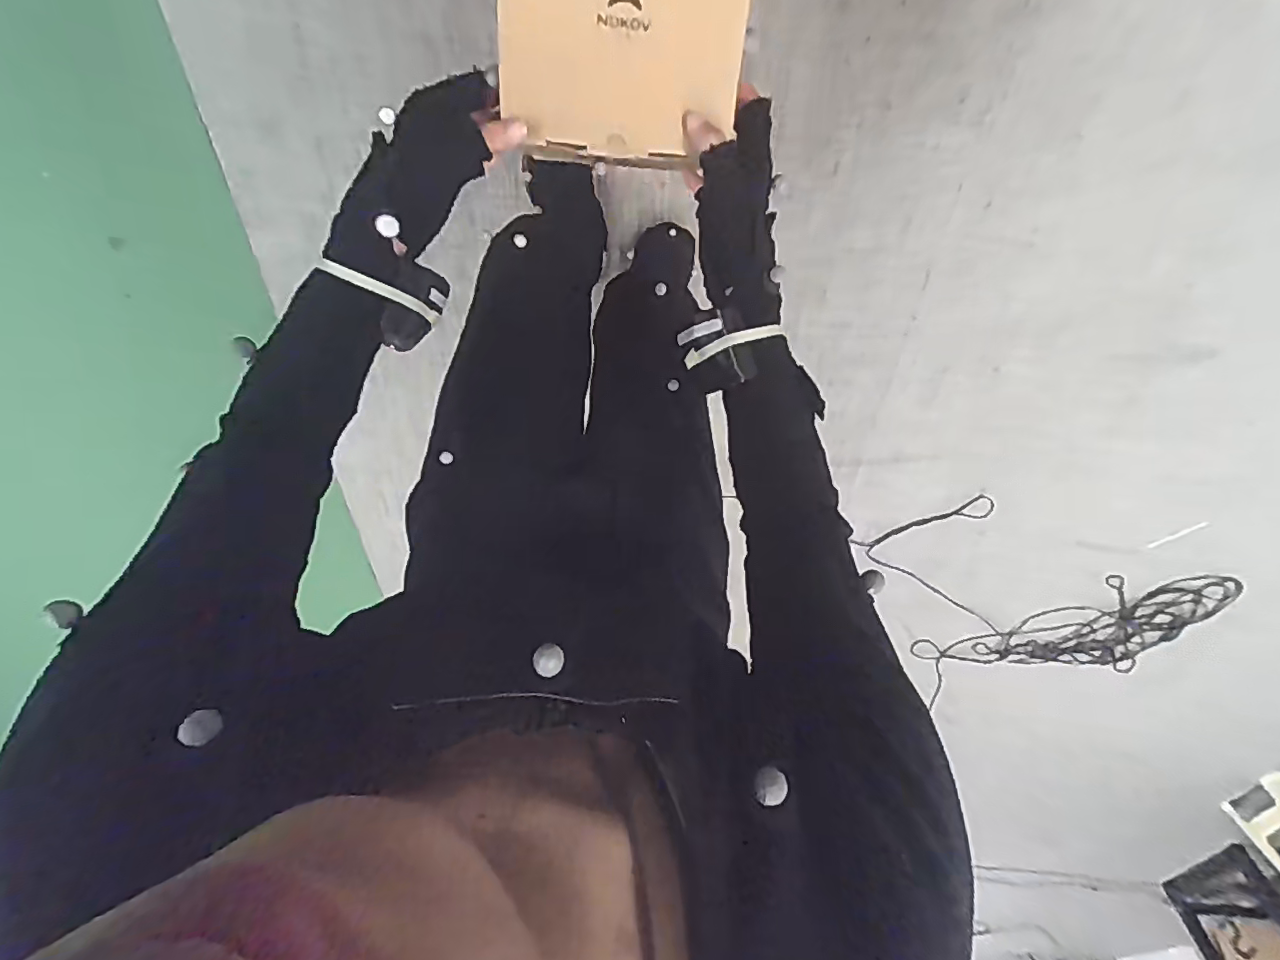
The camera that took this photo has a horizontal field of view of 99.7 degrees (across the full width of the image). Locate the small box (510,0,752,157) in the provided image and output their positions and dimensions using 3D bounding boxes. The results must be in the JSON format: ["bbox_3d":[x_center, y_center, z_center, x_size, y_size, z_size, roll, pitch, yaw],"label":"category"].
[{"bbox_3d":[-0.009,-0.369,0.430,0.168,0.176,0.179,3,120,-4],"label":"small box"}]
